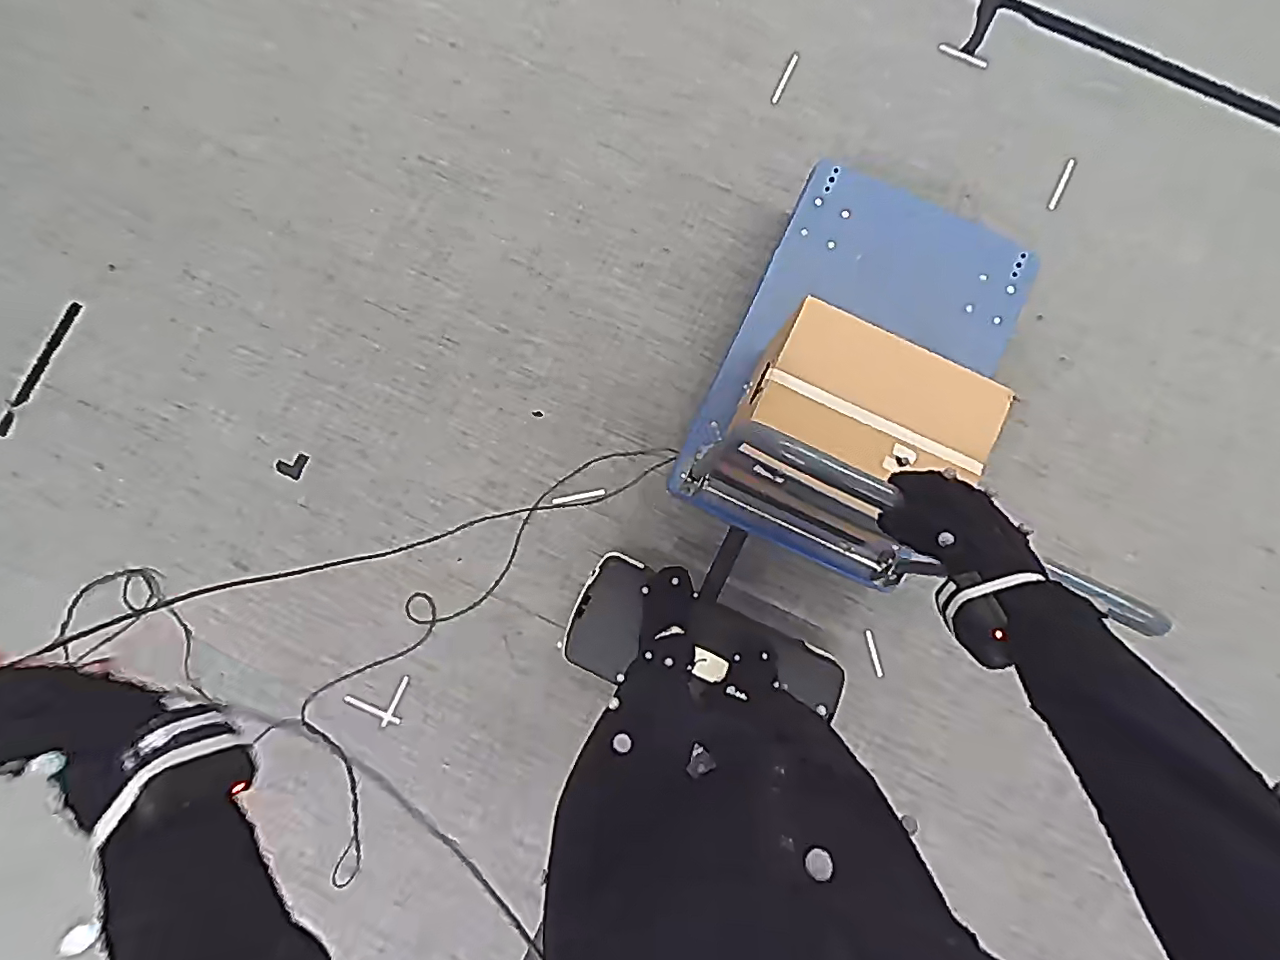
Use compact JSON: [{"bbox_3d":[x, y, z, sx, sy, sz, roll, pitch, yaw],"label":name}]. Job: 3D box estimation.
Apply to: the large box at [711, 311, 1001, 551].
[{"bbox_3d":[0.405,-0.081,1.113,0.408,0.320,0.320,25,87,0],"label":"large box"}]
